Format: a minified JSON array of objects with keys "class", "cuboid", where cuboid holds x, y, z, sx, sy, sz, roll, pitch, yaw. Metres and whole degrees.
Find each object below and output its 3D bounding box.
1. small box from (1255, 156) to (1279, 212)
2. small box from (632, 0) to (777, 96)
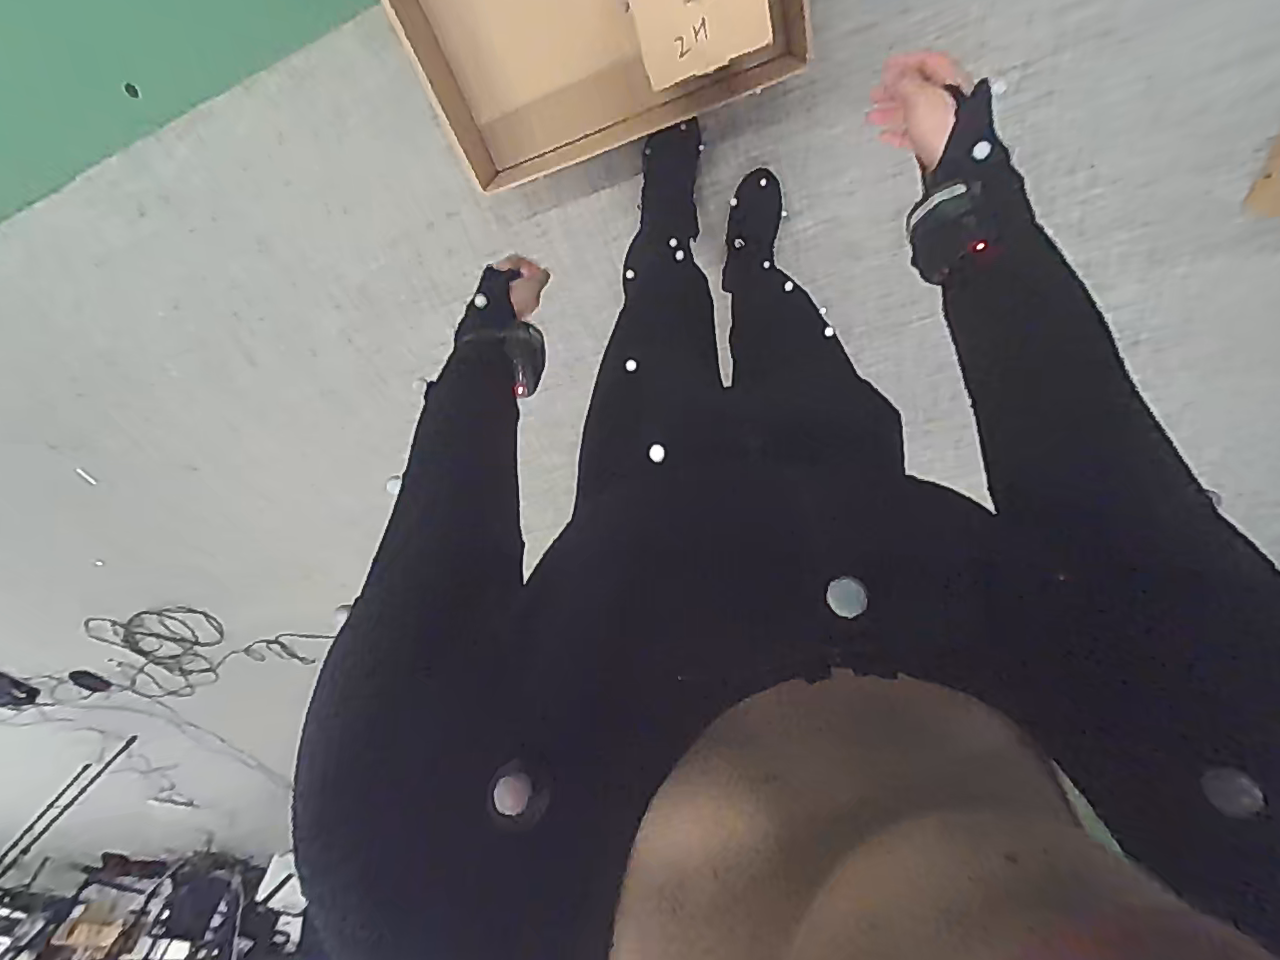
[{"class":"small box","cuboid":[1.342,-0.592,1.008,0.179,0.176,0.168,-5,131,8]},{"class":"small box","cuboid":[0.074,-0.648,0.715,0.168,0.176,0.179,-13,131,15]}]
